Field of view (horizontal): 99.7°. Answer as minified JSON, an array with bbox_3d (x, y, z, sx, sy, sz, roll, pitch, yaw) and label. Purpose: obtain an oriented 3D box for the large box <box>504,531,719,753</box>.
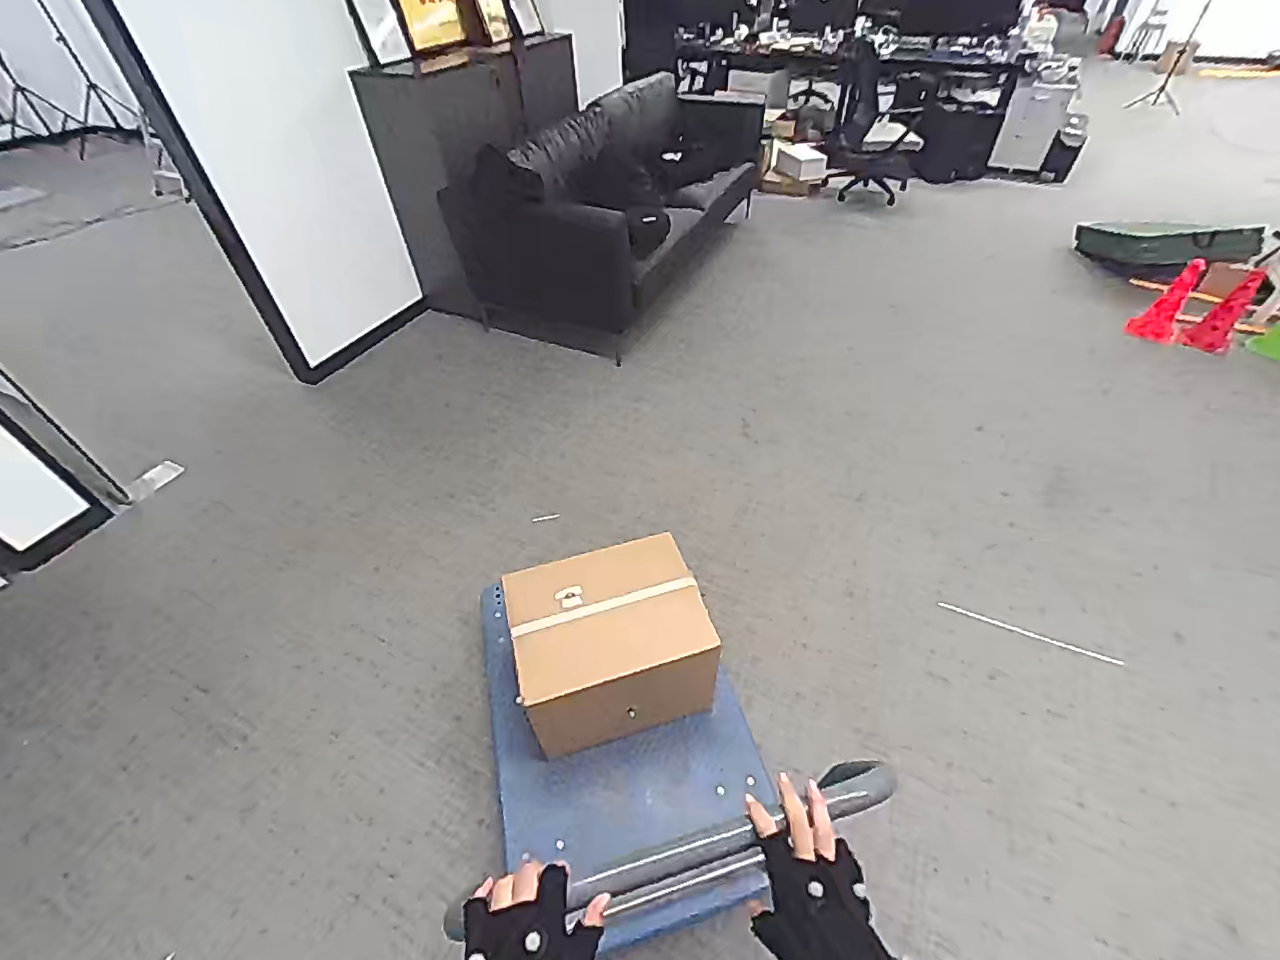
[{"bbox_3d":[-0.067,0.375,1.261,0.408,0.320,0.320,-14,47,-11],"label":"large box"}]
